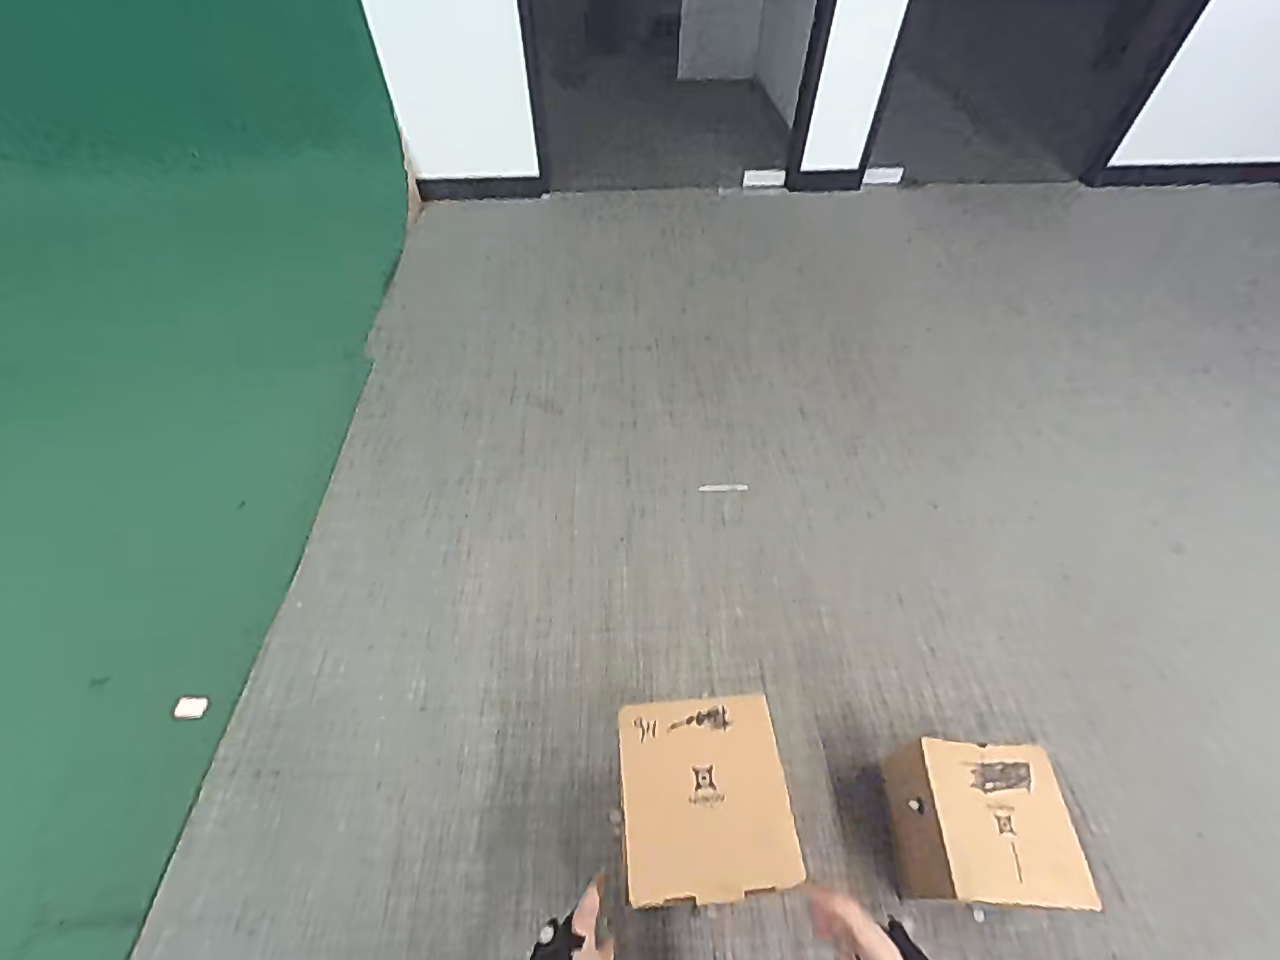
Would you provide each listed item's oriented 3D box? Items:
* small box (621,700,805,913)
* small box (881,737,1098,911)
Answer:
[{"bbox_3d":[0.066,0.364,0.606,0.168,0.176,0.179,-3,52,-4],"label":"small box"},{"bbox_3d":[0.450,0.469,0.737,0.168,0.176,0.179,3,52,2],"label":"small box"}]
